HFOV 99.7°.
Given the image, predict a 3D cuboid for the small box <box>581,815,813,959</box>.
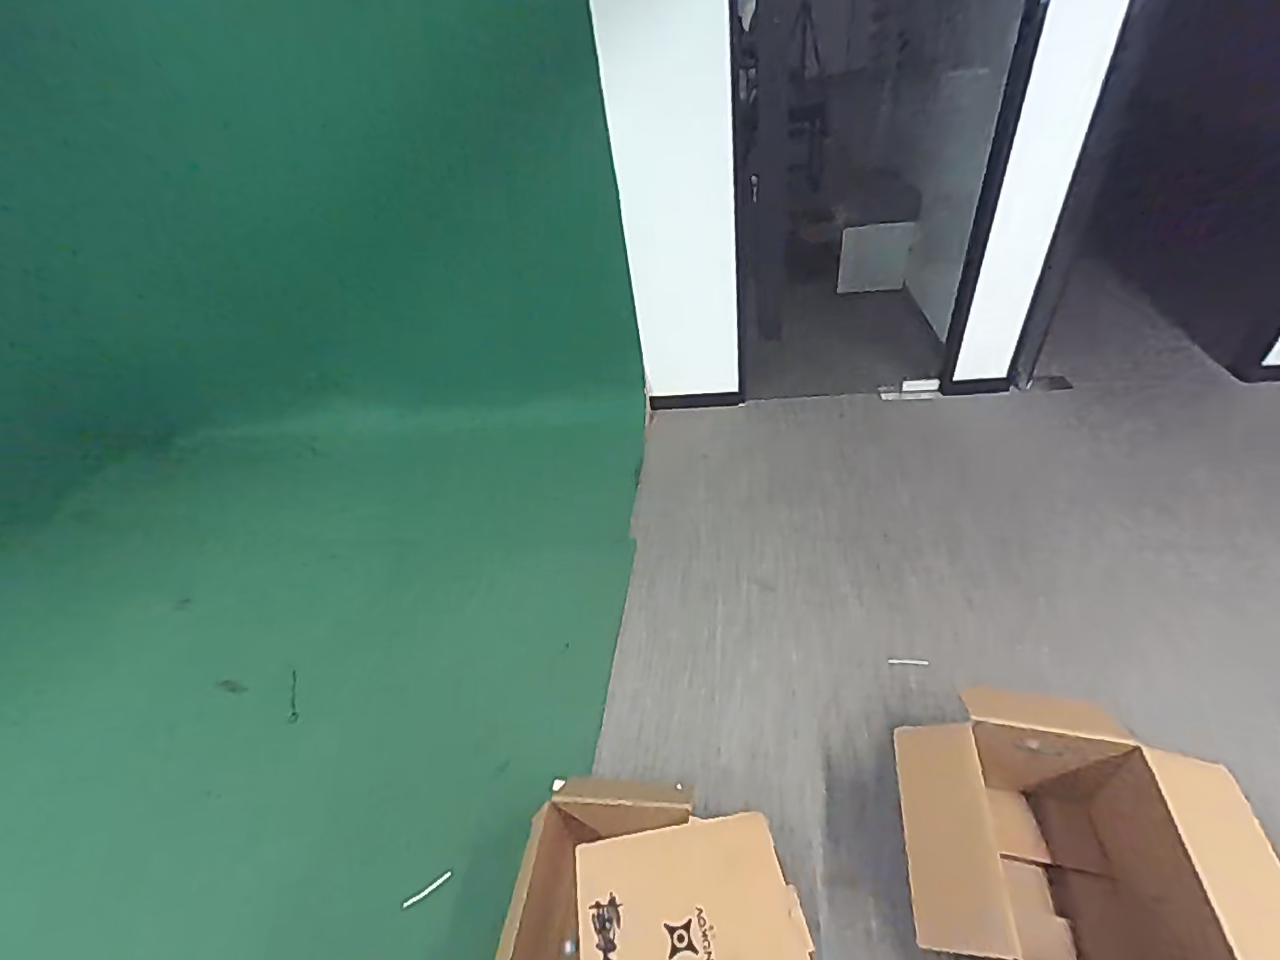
[{"bbox_3d":[0.043,0.425,0.464,0.179,0.176,0.168,-5,30,-5],"label":"small box"}]
